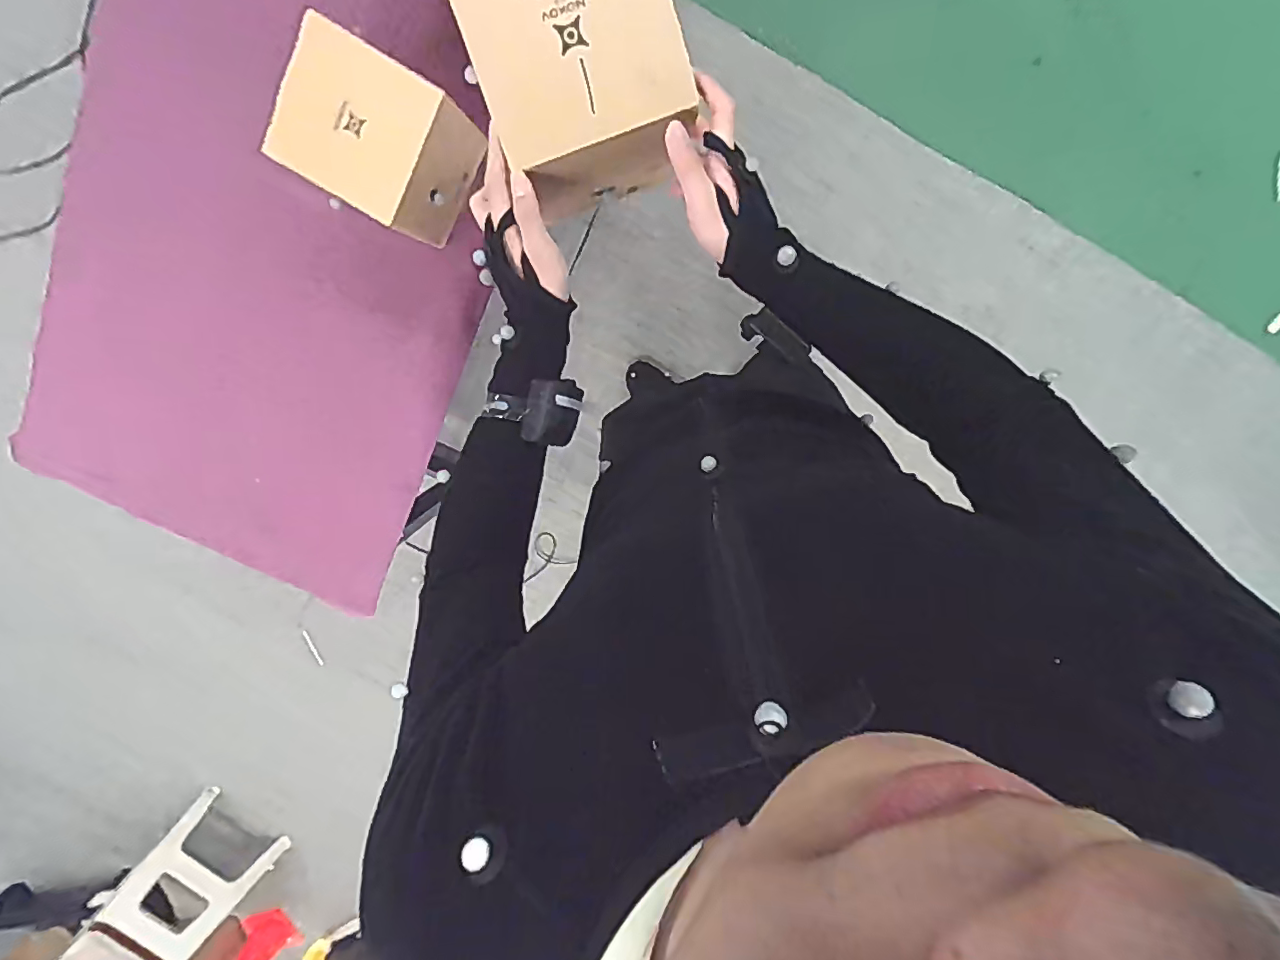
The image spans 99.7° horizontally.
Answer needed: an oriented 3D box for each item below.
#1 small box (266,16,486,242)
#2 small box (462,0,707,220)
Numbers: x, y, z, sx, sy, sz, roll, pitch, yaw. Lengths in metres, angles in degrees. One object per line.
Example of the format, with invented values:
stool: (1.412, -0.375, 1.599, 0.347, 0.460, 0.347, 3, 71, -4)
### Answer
small box: (-0.331, -0.436, 0.711, 0.179, 0.176, 0.168, 30, 105, -4)
small box: (-0.049, -0.371, 0.498, 0.168, 0.176, 0.179, -18, 102, 4)
